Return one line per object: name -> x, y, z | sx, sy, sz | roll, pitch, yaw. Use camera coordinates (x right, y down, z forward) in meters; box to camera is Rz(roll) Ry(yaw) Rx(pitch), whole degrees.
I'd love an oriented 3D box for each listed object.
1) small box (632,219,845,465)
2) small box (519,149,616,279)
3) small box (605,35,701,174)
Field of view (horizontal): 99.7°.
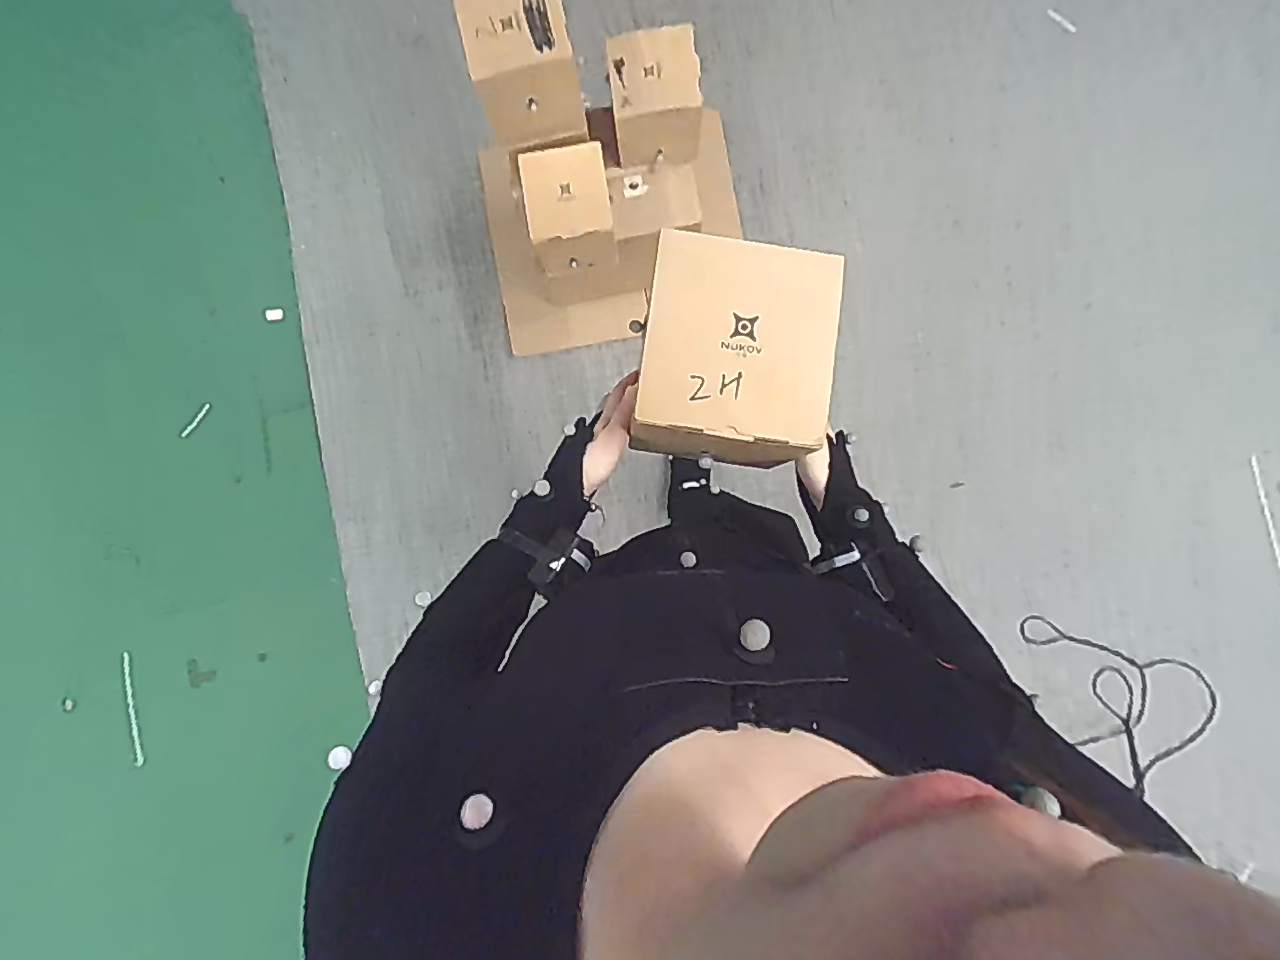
small box -> 0.084, -0.121, 0.540 | 0.168, 0.176, 0.179 | 8, 84, -2
small box -> -0.145, -0.545, 1.126 | 0.168, 0.176, 0.179 | -10, 89, 0
small box -> 0.027, -0.776, 1.133 | 0.179, 0.176, 0.168 | -7, 87, 3
